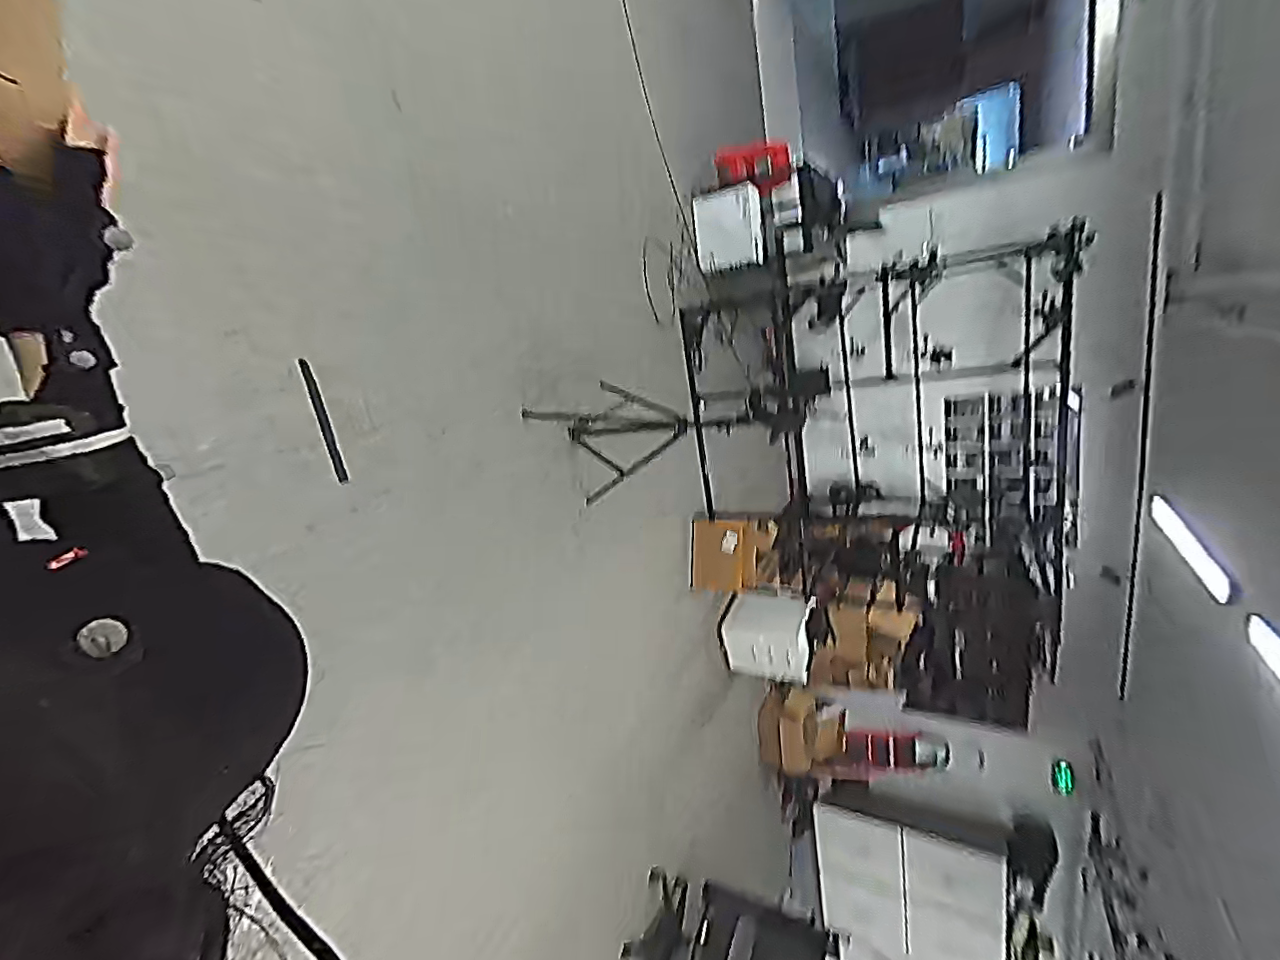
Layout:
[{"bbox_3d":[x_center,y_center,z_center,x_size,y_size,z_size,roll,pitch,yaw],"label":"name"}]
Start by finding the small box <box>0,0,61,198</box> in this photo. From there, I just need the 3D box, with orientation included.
[{"bbox_3d":[-0.476,-0.303,0.311,0.179,0.176,0.168,-11,142,-50],"label":"small box"}]
